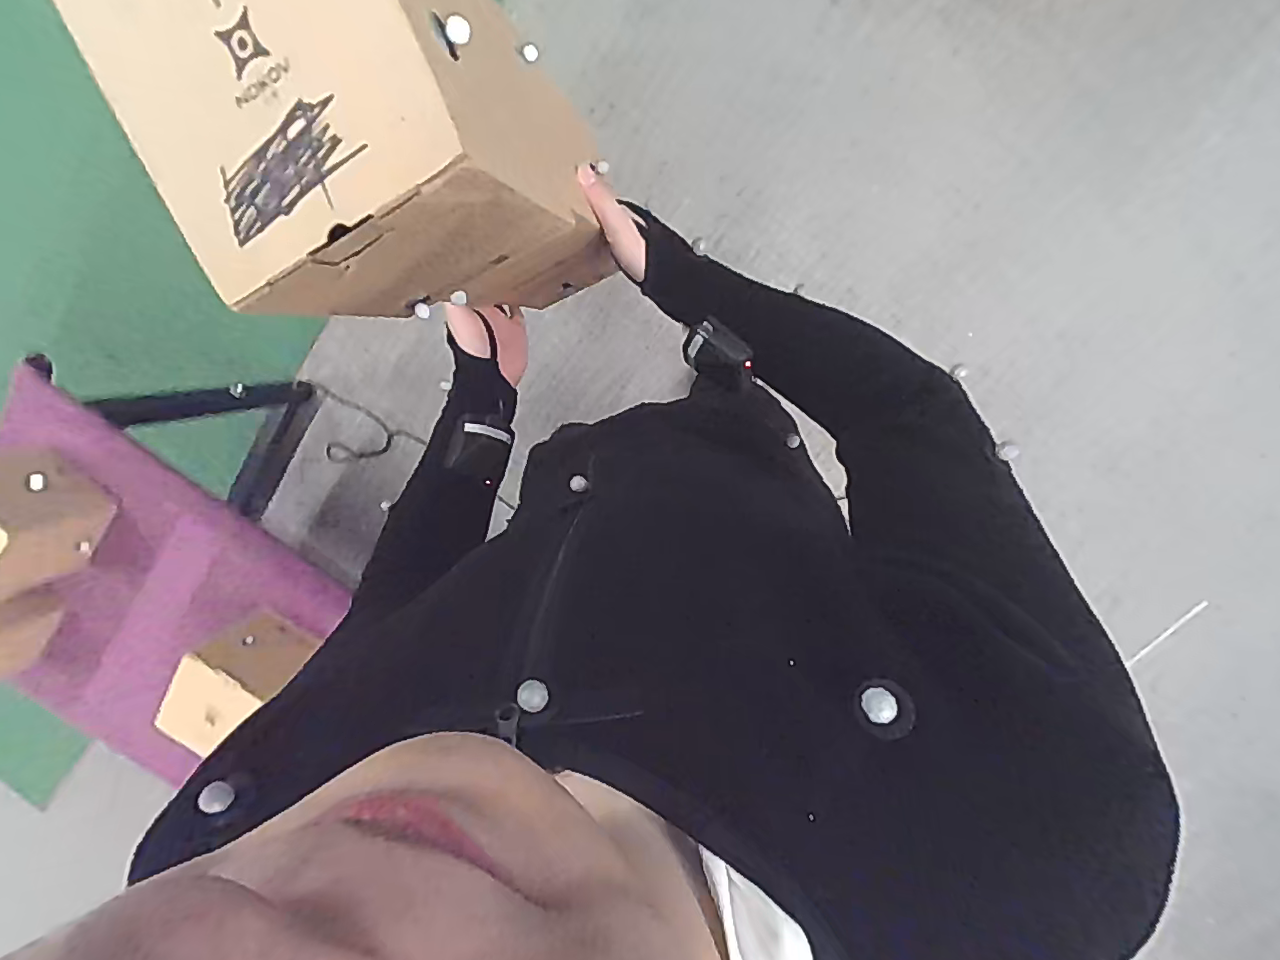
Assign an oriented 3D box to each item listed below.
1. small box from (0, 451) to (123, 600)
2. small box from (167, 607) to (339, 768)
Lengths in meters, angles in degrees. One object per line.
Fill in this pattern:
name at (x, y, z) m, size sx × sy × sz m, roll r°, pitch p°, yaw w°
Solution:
small box at (-1.080, 0.071, 0.952) m, size 0.168 × 0.176 × 0.179 m, roll 41°, pitch 107°, yaw -5°
small box at (-0.688, 0.364, 0.982) m, size 0.168 × 0.176 × 0.179 m, roll 34°, pitch 107°, yaw -2°
